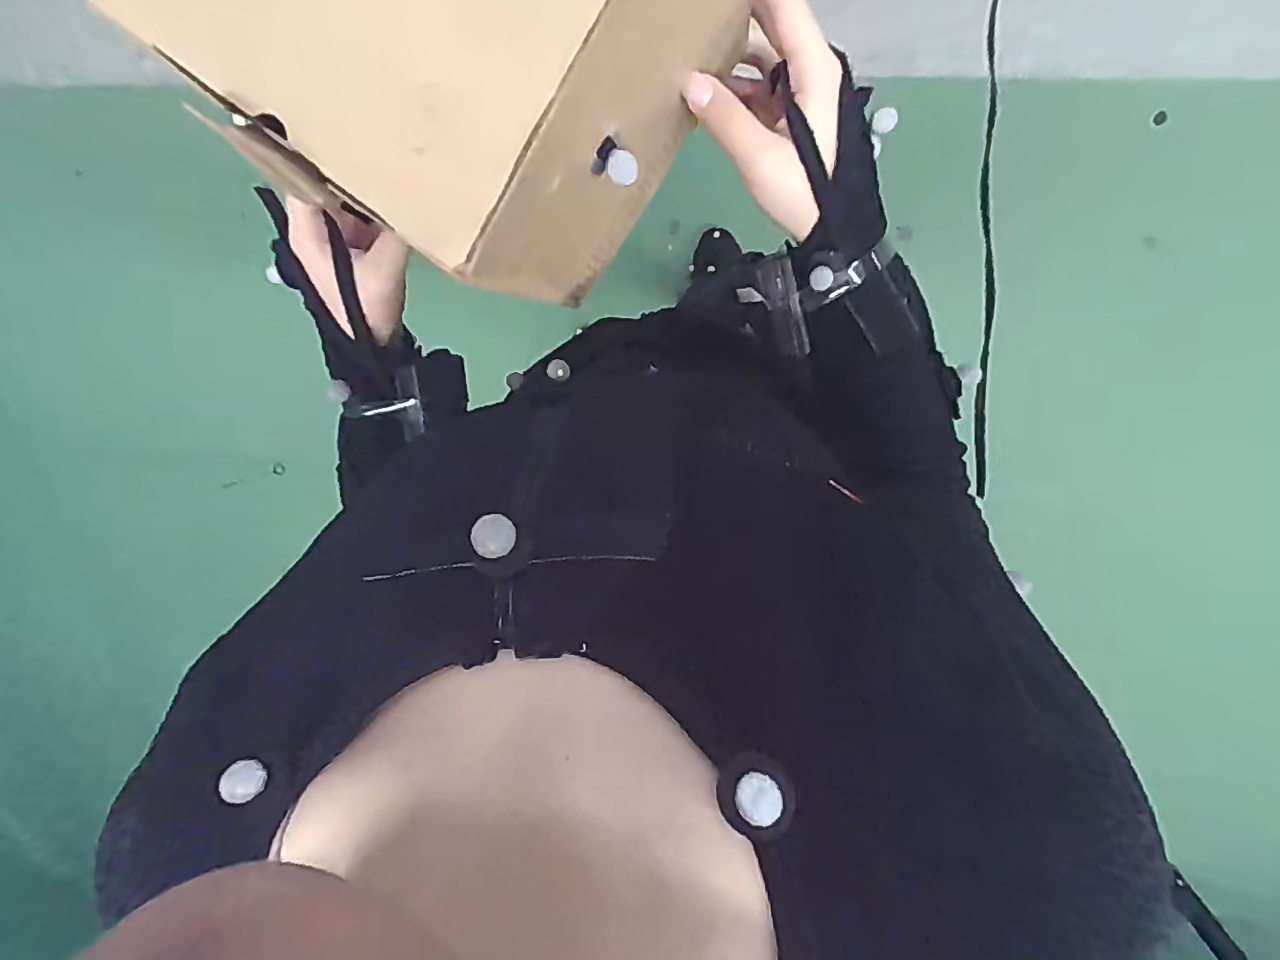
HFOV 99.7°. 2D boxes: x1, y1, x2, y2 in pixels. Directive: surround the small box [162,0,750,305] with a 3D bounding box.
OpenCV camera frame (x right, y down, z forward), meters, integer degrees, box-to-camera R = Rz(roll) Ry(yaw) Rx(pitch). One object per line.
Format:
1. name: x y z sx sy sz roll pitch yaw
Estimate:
1. small box: -0.058 -0.203 0.260 0.168 0.176 0.179 36 107 -1
